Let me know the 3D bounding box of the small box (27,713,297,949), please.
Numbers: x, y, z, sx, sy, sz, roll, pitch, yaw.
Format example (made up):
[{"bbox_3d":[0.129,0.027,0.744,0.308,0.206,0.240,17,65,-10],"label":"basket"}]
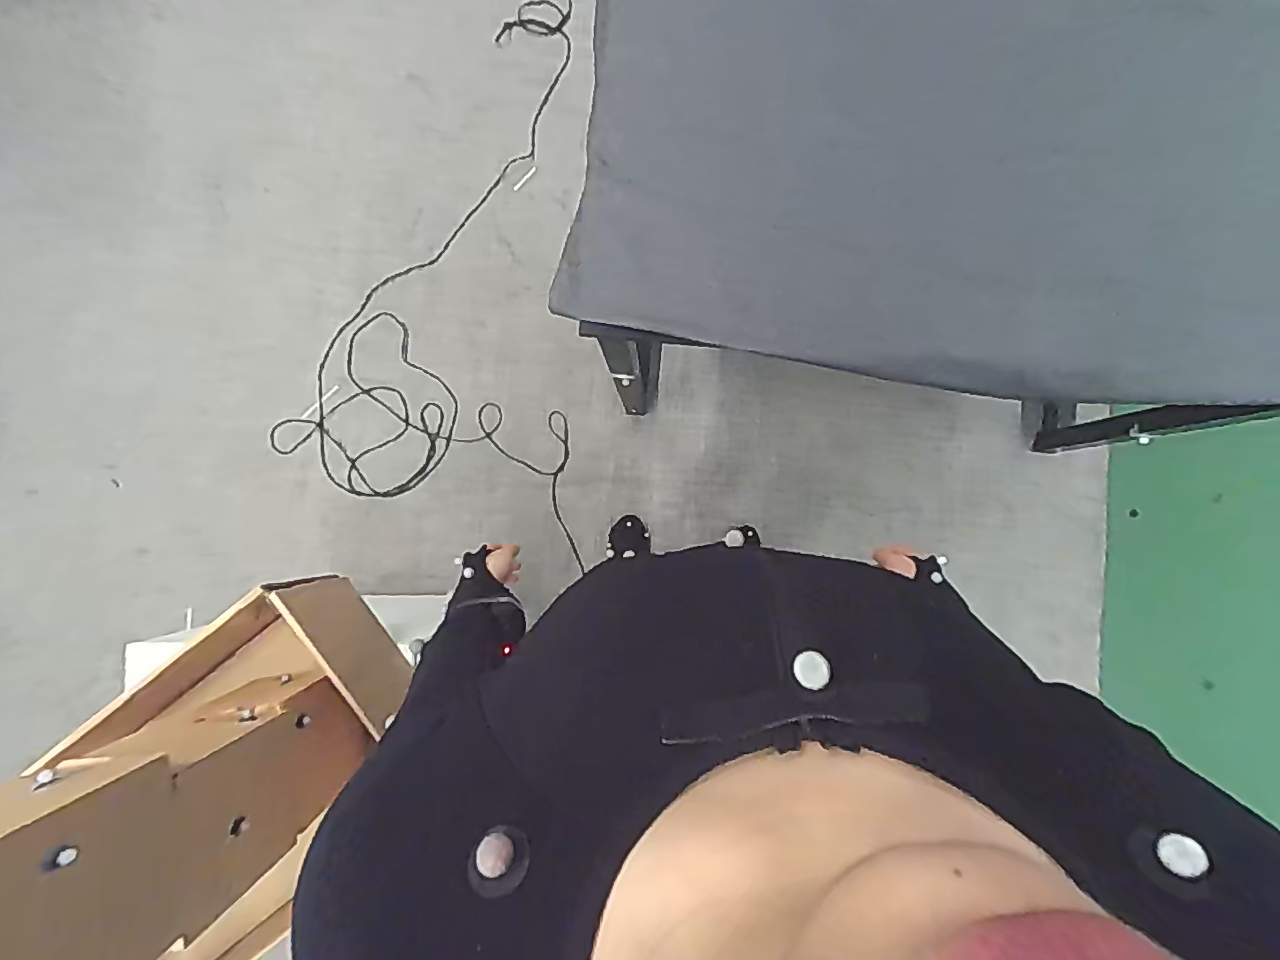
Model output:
[{"bbox_3d":[-0.534,0.385,0.627,0.168,0.176,0.179,-5,90,3],"label":"small box"}]
